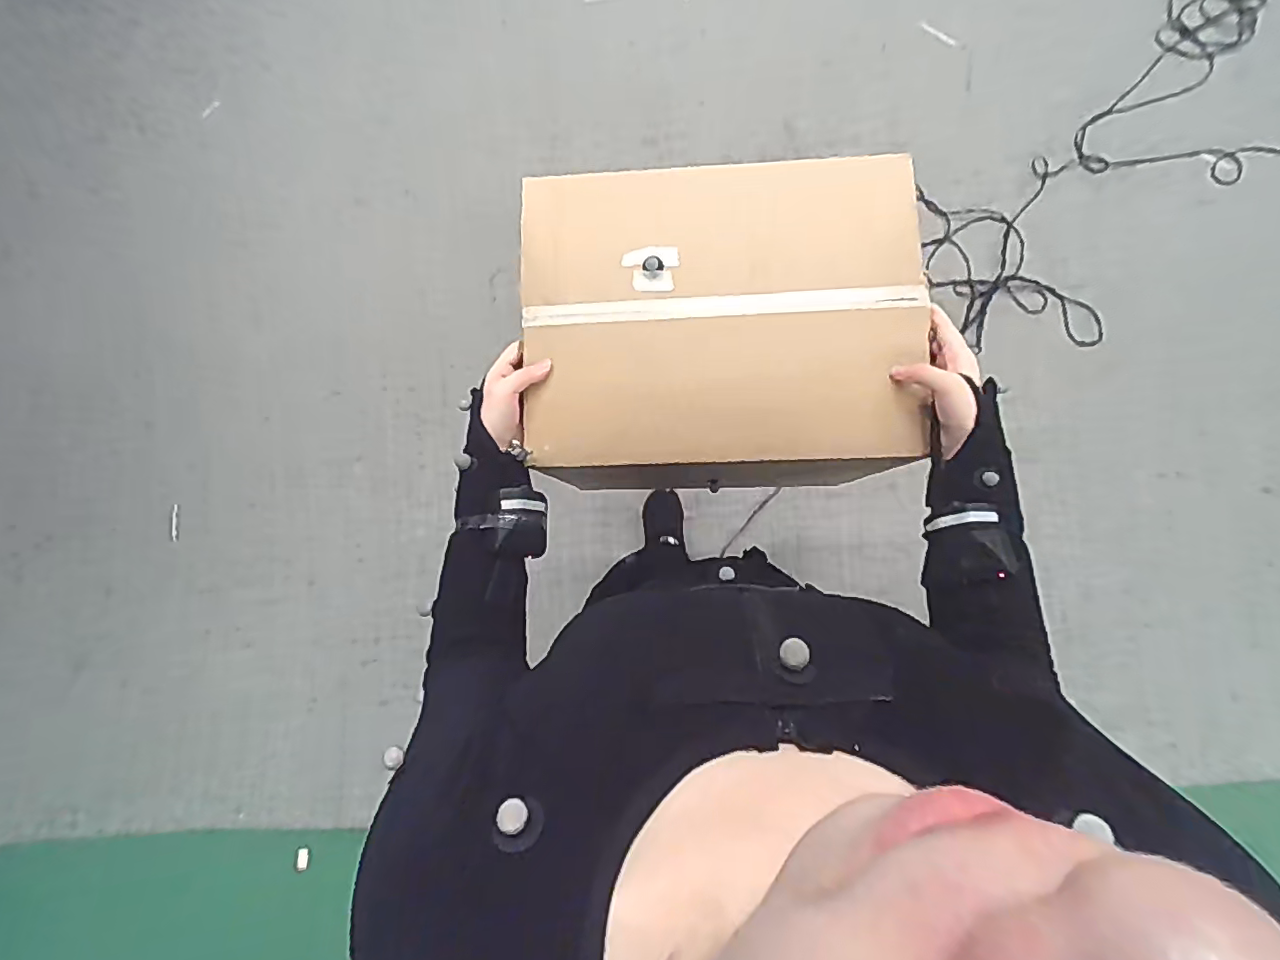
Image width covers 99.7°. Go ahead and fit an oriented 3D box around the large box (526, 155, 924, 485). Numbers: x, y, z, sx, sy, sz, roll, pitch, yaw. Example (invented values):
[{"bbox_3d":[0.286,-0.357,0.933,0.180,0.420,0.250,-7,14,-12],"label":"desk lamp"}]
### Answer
[{"bbox_3d":[0.093,-0.163,0.709,0.408,0.320,0.320,-2,84,5],"label":"large box"}]
